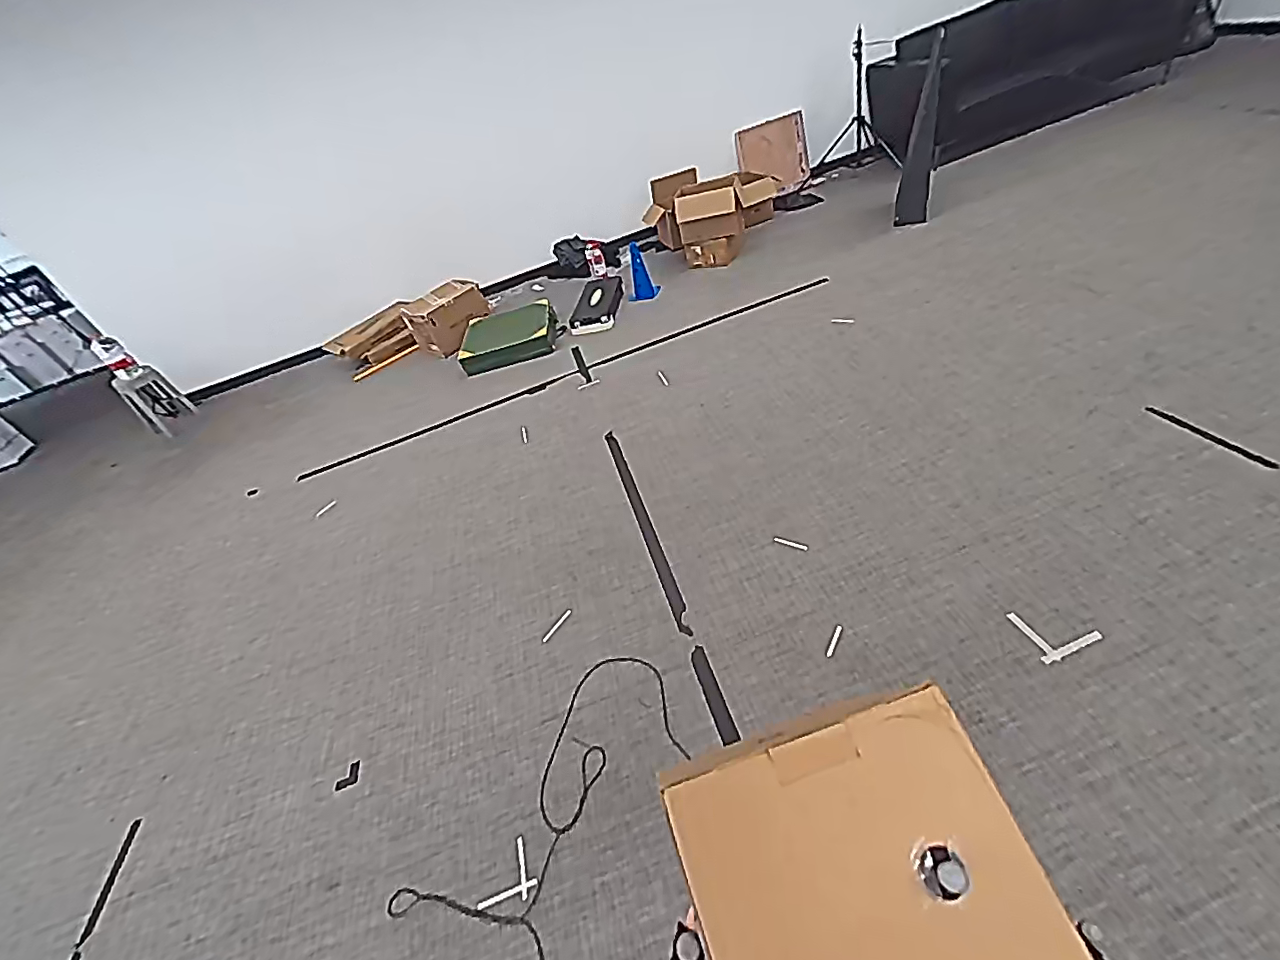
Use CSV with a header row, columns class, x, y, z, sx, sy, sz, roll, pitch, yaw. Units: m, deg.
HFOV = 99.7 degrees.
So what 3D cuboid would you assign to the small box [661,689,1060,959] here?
class,x,y,z,sx,sy,sz,roll,pitch,yaw
small box,0.118,0.252,0.344,0.168,0.179,0.176,-17,64,-7
